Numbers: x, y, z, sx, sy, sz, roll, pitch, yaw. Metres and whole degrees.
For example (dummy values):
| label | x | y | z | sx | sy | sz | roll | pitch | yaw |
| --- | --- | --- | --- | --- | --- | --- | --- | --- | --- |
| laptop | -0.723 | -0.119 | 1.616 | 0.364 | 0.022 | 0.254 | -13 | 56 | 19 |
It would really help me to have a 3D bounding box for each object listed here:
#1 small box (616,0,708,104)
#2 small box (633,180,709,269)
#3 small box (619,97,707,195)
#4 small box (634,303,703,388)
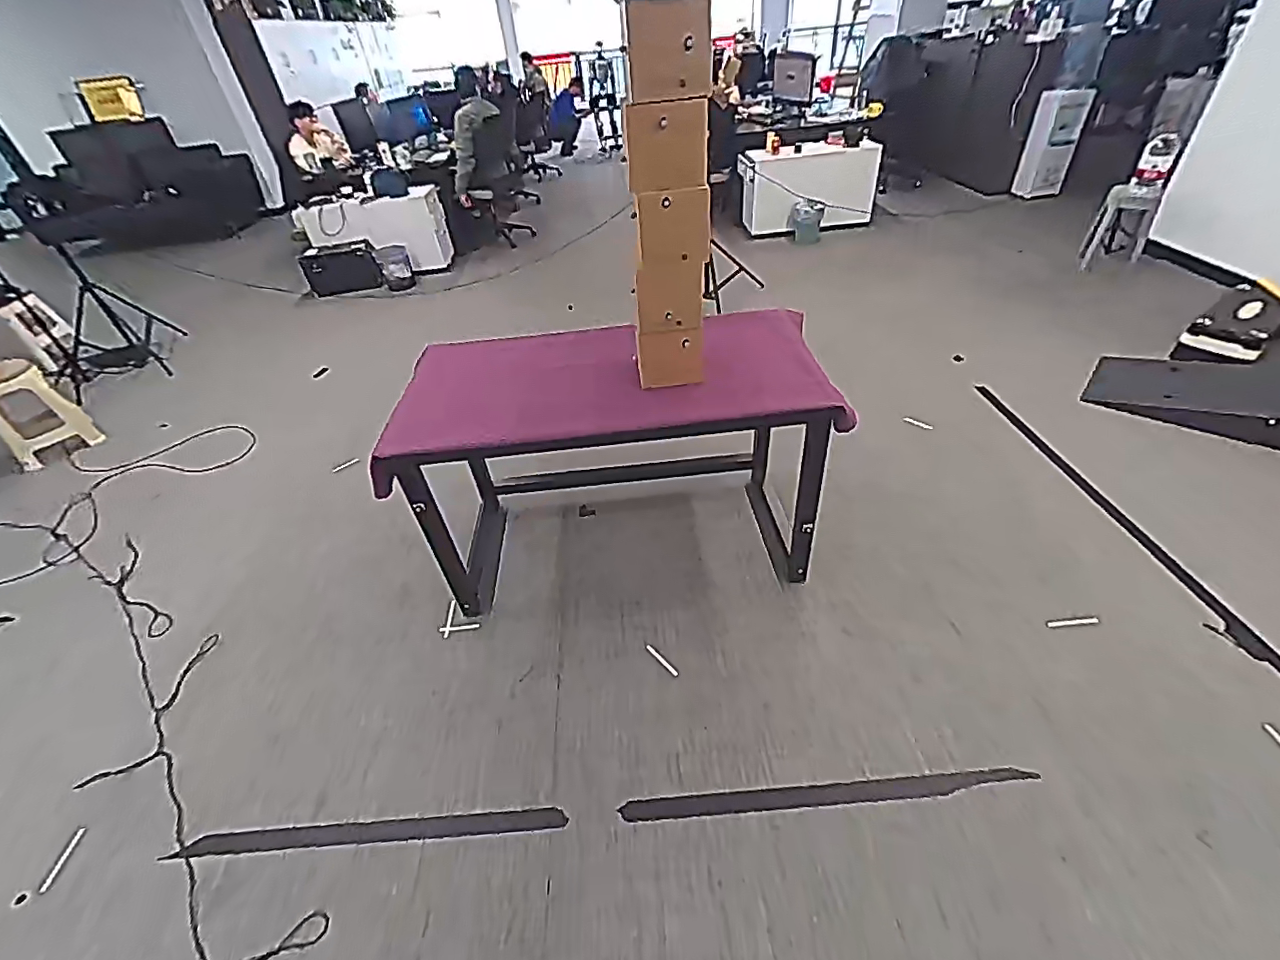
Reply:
| label | x | y | z | sx | sy | sz | roll | pitch | yaw |
| --- | --- | --- | --- | --- | --- | --- | --- | --- | --- |
| small box | 0.045 | -0.886 | 1.116 | 0.168 | 0.176 | 0.179 | -7 | 39 | -3 |
| small box | 0.071 | -0.629 | 1.313 | 0.168 | 0.176 | 0.179 | -7 | 40 | -1 |
| small box | 0.050 | -0.759 | 1.218 | 0.179 | 0.176 | 0.168 | -8 | 40 | -1 |
| small box | 0.079 | -0.377 | 1.523 | 0.179 | 0.176 | 0.168 | -7 | 39 | 0 |
